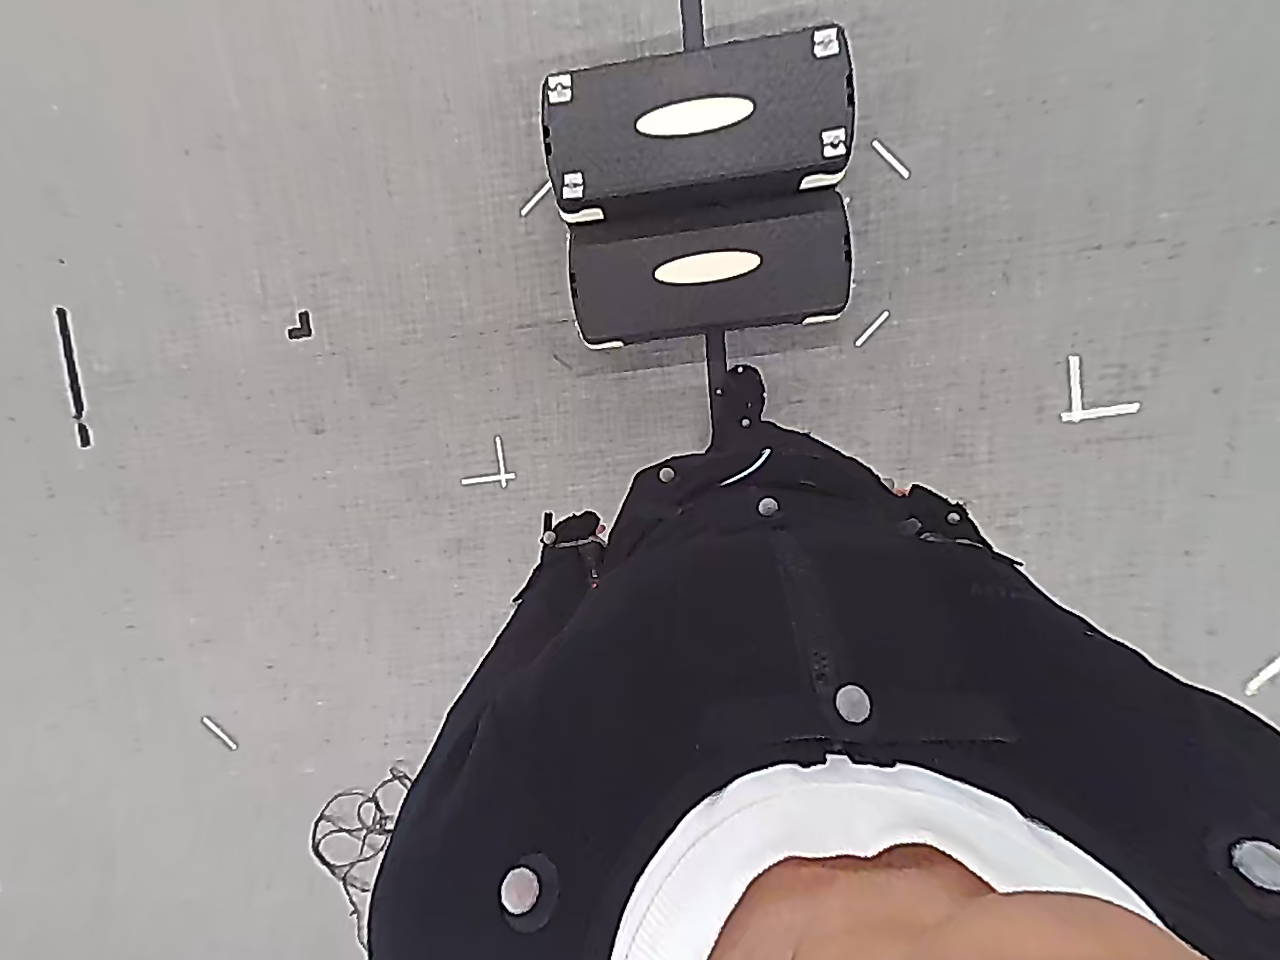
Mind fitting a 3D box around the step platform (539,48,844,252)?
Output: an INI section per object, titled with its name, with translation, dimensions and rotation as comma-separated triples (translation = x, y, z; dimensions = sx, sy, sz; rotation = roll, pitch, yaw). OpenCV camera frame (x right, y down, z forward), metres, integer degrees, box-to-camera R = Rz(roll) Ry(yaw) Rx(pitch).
[step platform]
translation = 0.111, -0.749, 1.257
dimensions = 0.684, 0.204, 0.286
rotation = -7, 97, 5
